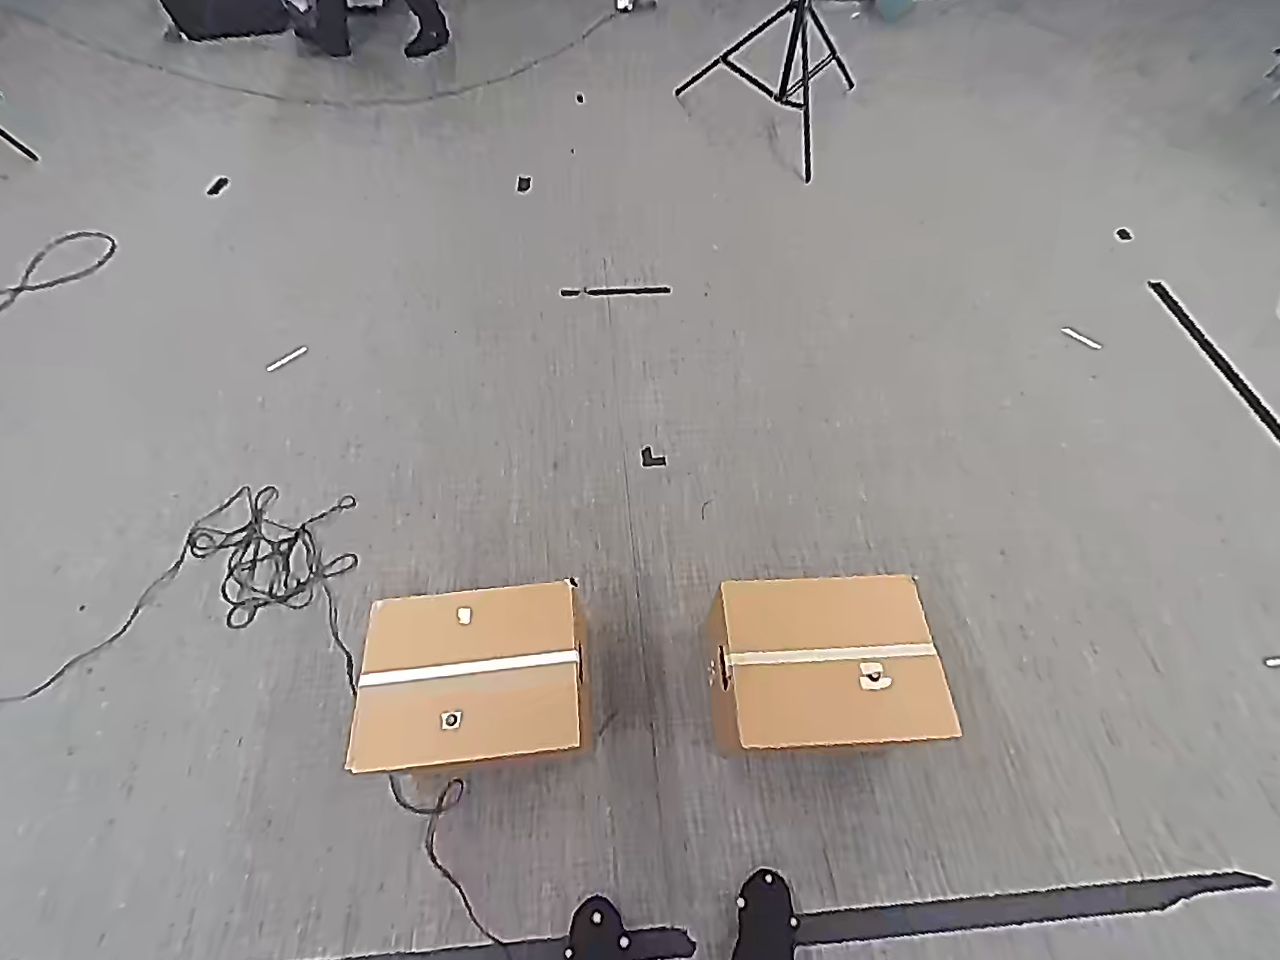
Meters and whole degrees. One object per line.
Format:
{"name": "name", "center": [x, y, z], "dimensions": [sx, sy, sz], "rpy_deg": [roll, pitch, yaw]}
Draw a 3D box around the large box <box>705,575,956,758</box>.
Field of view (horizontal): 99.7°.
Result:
{"name": "large box", "center": [0.372, 0.417, 1.184], "dimensions": [0.408, 0.320, 0.320], "rpy_deg": [-1, 60, -2]}
